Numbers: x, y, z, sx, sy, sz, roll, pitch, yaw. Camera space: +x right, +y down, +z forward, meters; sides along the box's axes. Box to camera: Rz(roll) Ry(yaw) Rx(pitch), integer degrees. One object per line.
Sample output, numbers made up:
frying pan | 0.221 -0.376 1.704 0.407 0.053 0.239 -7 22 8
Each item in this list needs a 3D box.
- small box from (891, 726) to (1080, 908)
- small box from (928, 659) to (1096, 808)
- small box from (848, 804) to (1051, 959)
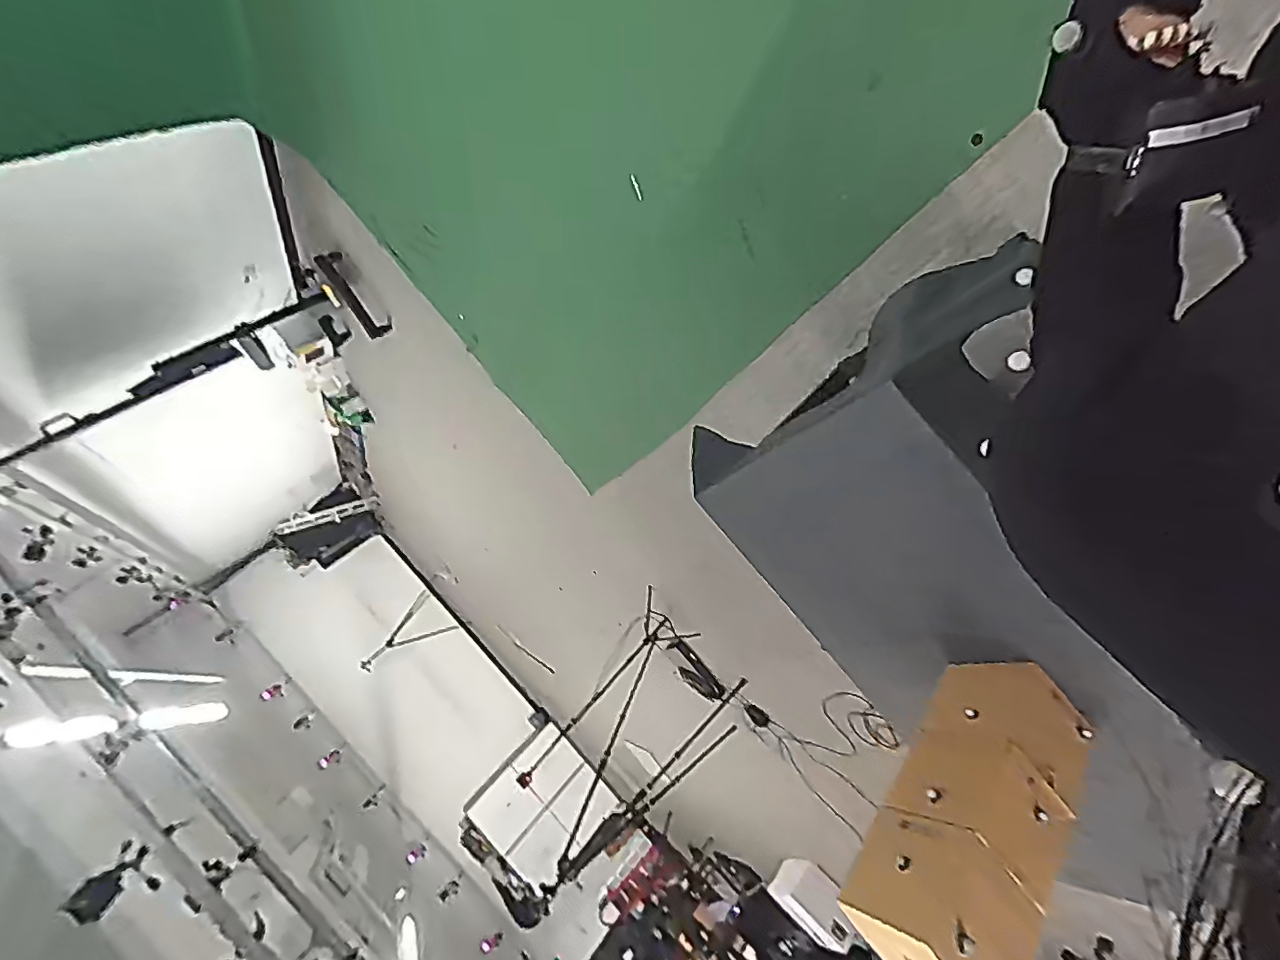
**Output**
small box | 0.560 0.528 0.880 0.168 0.176 0.179 49 149 0
small box | 0.666 0.438 0.963 0.168 0.176 0.179 49 150 0
small box | 0.452 0.619 0.794 0.179 0.176 0.168 50 150 -2
